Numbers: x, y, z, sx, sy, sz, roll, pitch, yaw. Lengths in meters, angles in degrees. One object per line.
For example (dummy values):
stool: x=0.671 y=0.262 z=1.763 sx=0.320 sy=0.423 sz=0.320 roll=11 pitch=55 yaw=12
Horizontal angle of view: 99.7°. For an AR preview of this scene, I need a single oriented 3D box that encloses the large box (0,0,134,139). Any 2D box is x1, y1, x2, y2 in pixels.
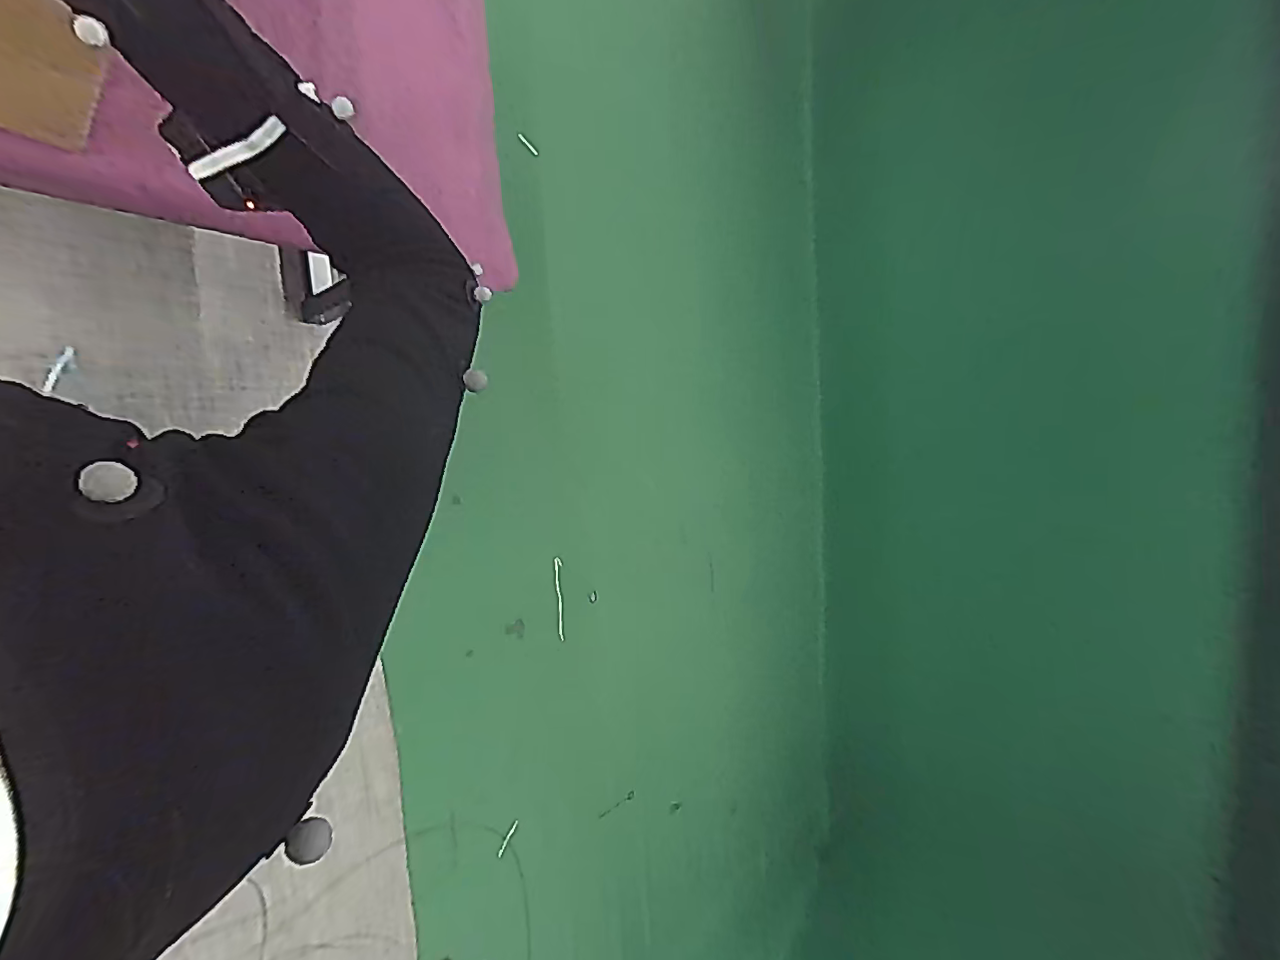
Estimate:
large box: x=-0.565 y=-0.535 z=0.340 sx=0.320 sy=0.320 sz=0.408 roll=-5 pitch=95 yaw=-50
